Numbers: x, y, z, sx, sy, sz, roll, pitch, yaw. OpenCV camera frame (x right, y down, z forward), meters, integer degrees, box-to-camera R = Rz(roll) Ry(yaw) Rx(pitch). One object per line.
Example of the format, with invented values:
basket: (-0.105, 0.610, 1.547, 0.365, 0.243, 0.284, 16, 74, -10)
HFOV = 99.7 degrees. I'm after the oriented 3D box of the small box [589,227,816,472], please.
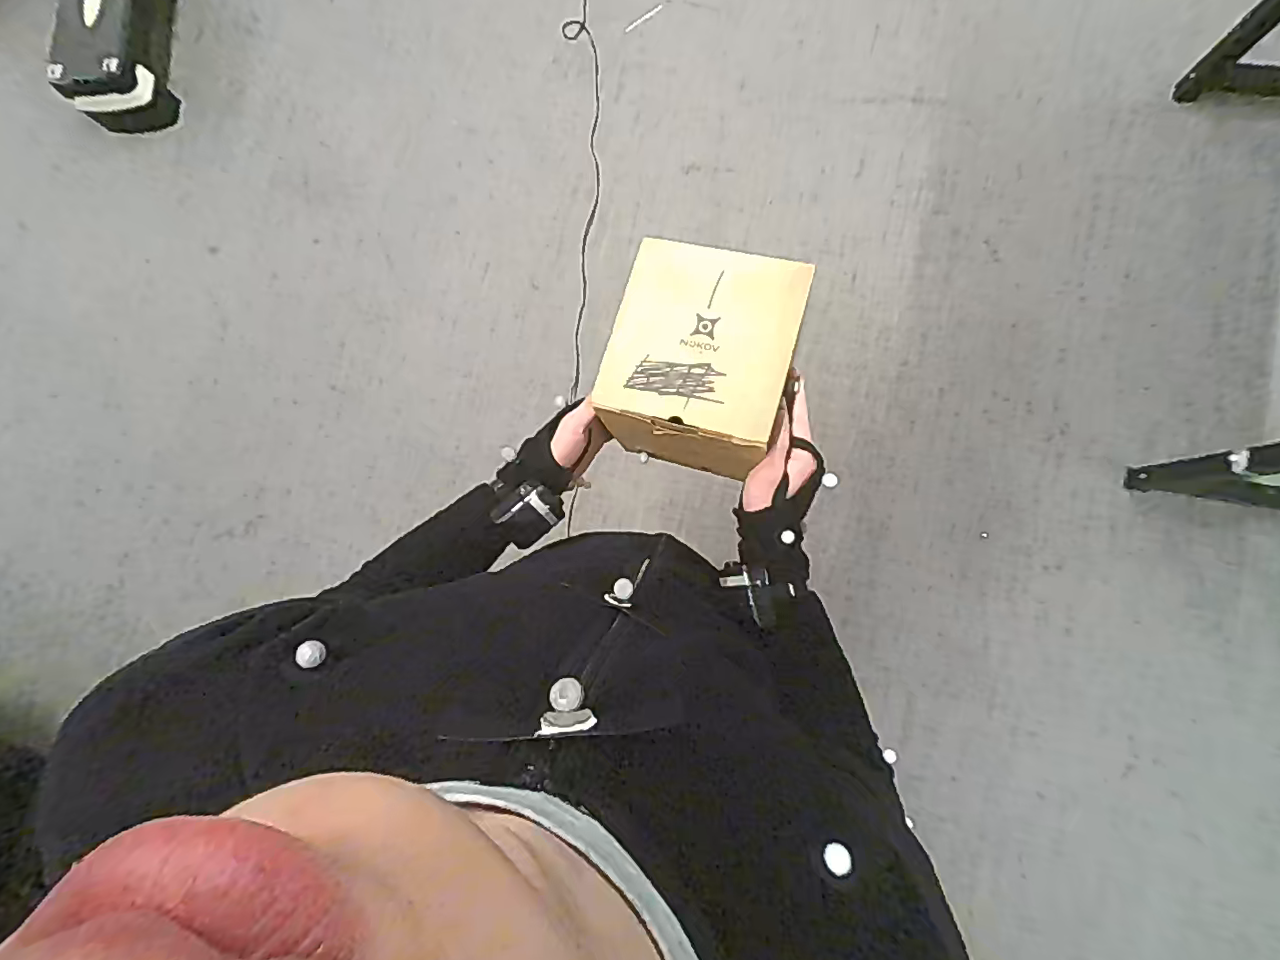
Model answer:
small box: (0.068, -0.120, 0.555, 0.168, 0.176, 0.179, 15, 82, 12)
